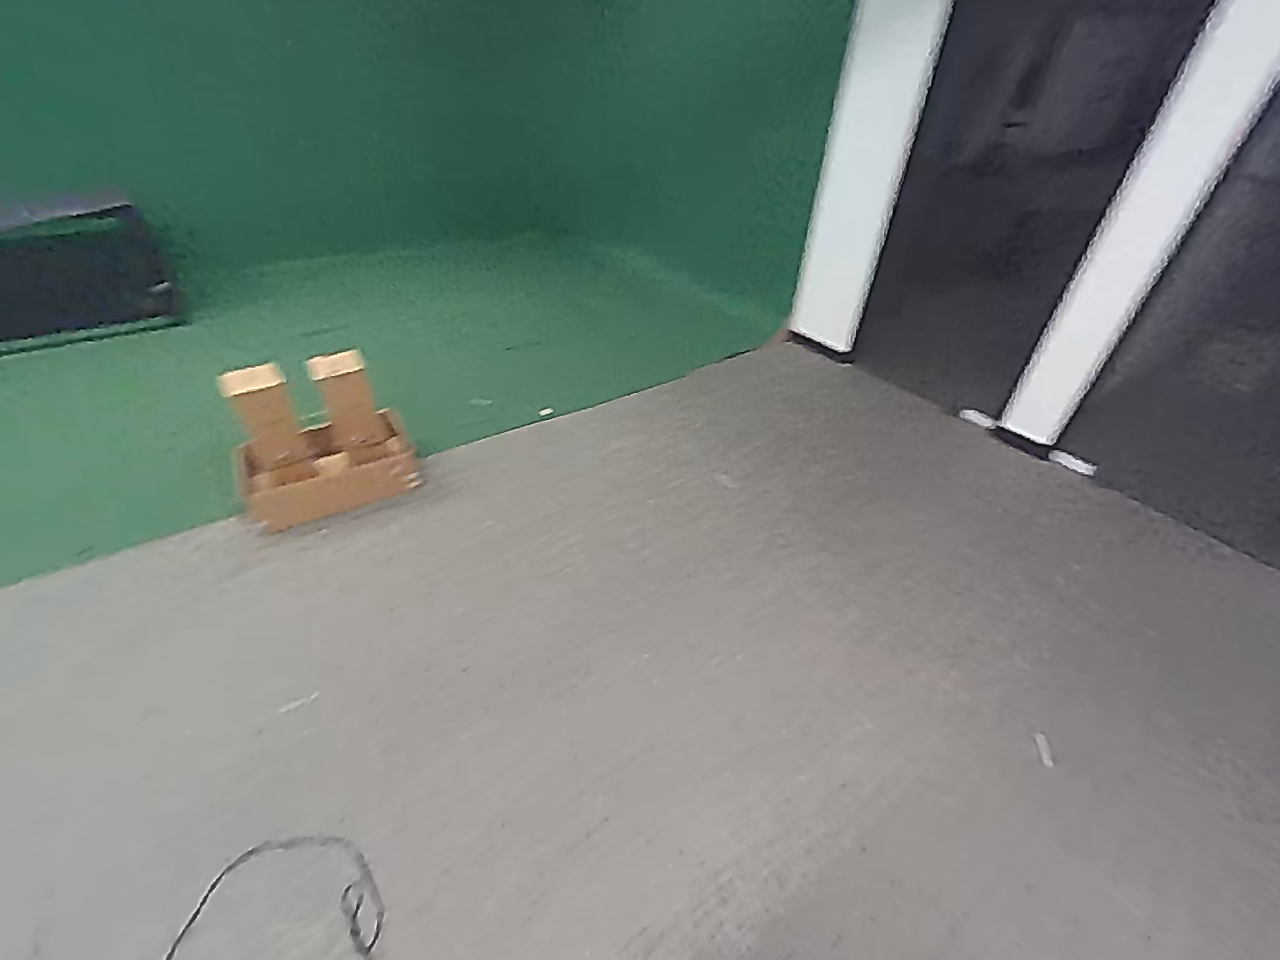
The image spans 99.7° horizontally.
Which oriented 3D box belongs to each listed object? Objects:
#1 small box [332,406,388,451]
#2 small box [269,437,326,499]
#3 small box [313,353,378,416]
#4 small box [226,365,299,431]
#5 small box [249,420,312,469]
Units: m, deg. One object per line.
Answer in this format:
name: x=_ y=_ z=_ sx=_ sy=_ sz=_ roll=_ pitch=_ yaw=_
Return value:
small box: x=-1.152 y=-0.245 z=2.212 sx=0.168 sy=0.176 sz=0.179 roll=-20 pitch=46 yaw=-24
small box: x=-1.414 y=-0.050 z=2.211 sx=0.168 sy=0.176 sz=0.179 roll=-22 pitch=46 yaw=-30
small box: x=-1.146 y=-0.372 z=2.107 sx=0.168 sy=0.176 sz=0.179 roll=-21 pitch=44 yaw=-26
small box: x=-1.390 y=-0.297 z=1.995 sx=0.168 sy=0.176 sz=0.179 roll=-23 pitch=47 yaw=-32
small box: x=-1.403 y=-0.170 z=2.098 sx=0.168 sy=0.176 sz=0.179 roll=-24 pitch=48 yaw=-31
